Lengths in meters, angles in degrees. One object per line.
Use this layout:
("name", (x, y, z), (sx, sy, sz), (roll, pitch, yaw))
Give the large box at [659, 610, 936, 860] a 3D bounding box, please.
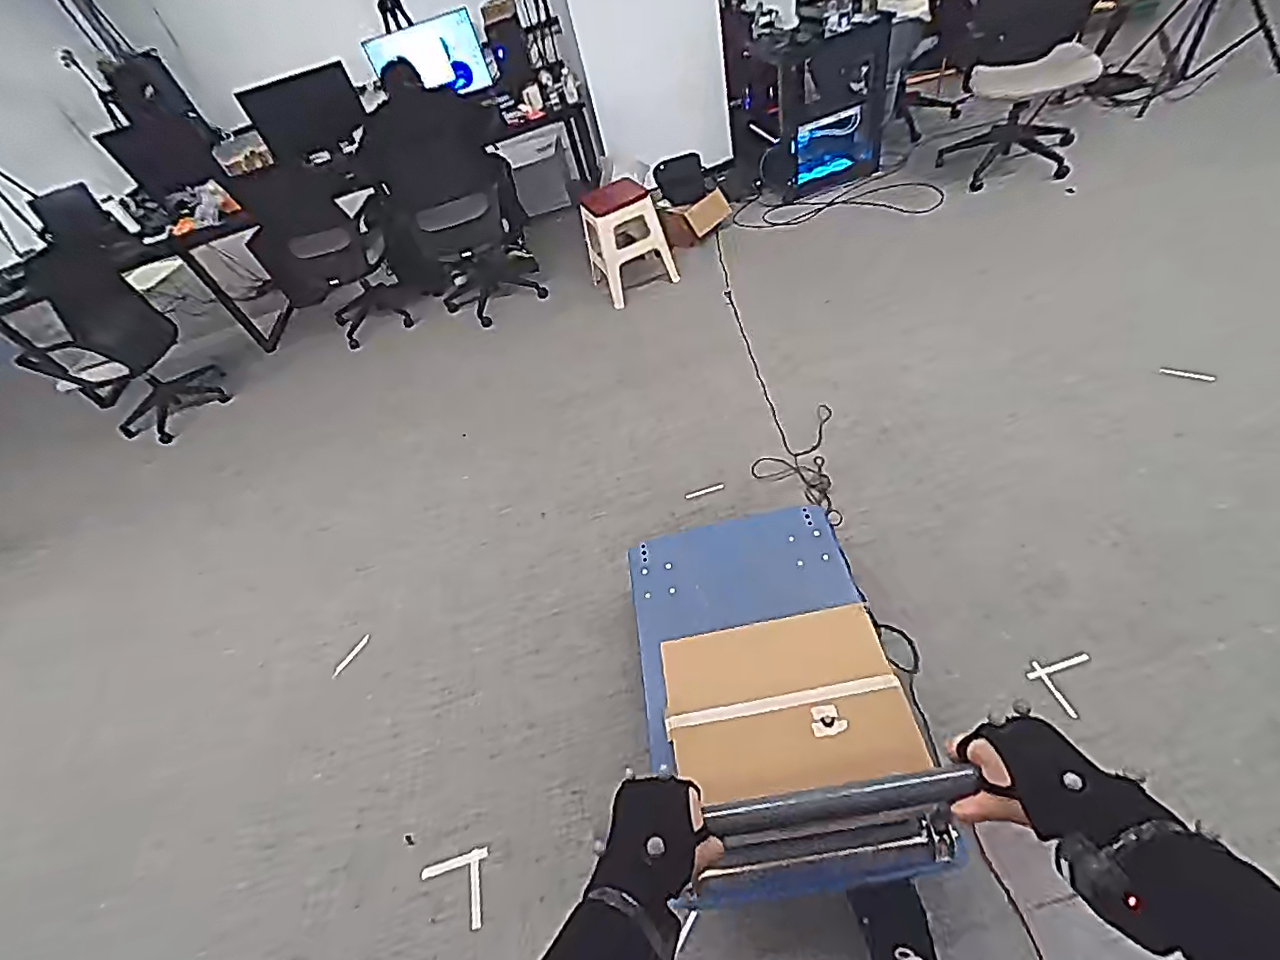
("large box", (0.276, 0.501, 1.049), (0.408, 0.320, 0.320), (-13, 48, 5))
